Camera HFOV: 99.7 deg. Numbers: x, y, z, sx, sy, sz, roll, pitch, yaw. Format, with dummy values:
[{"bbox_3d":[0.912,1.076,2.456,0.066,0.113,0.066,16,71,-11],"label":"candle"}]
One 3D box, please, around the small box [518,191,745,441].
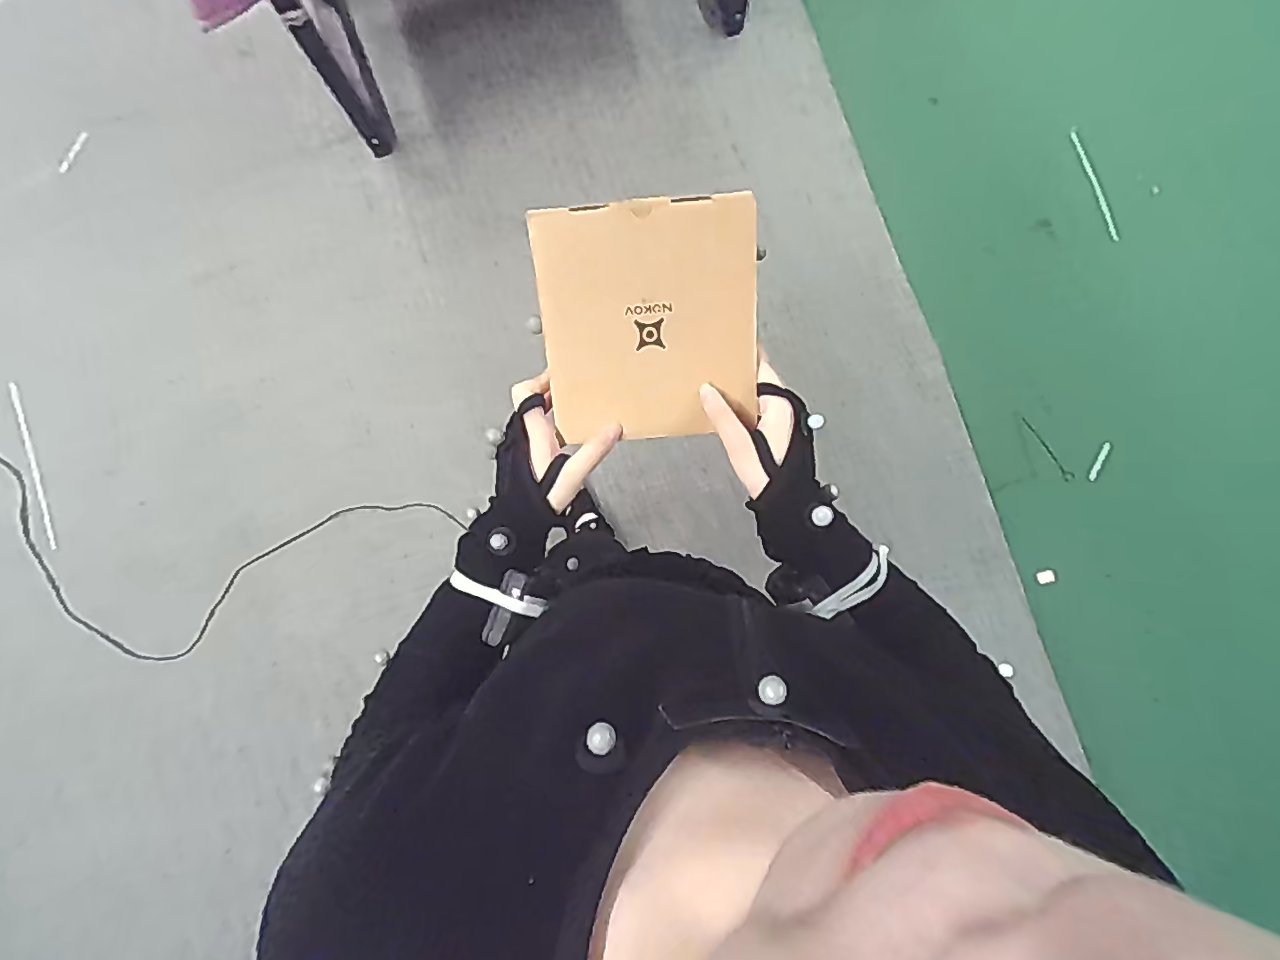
[{"bbox_3d":[-0.002,-0.147,0.491,0.168,0.176,0.179,-6,109,0],"label":"small box"}]
